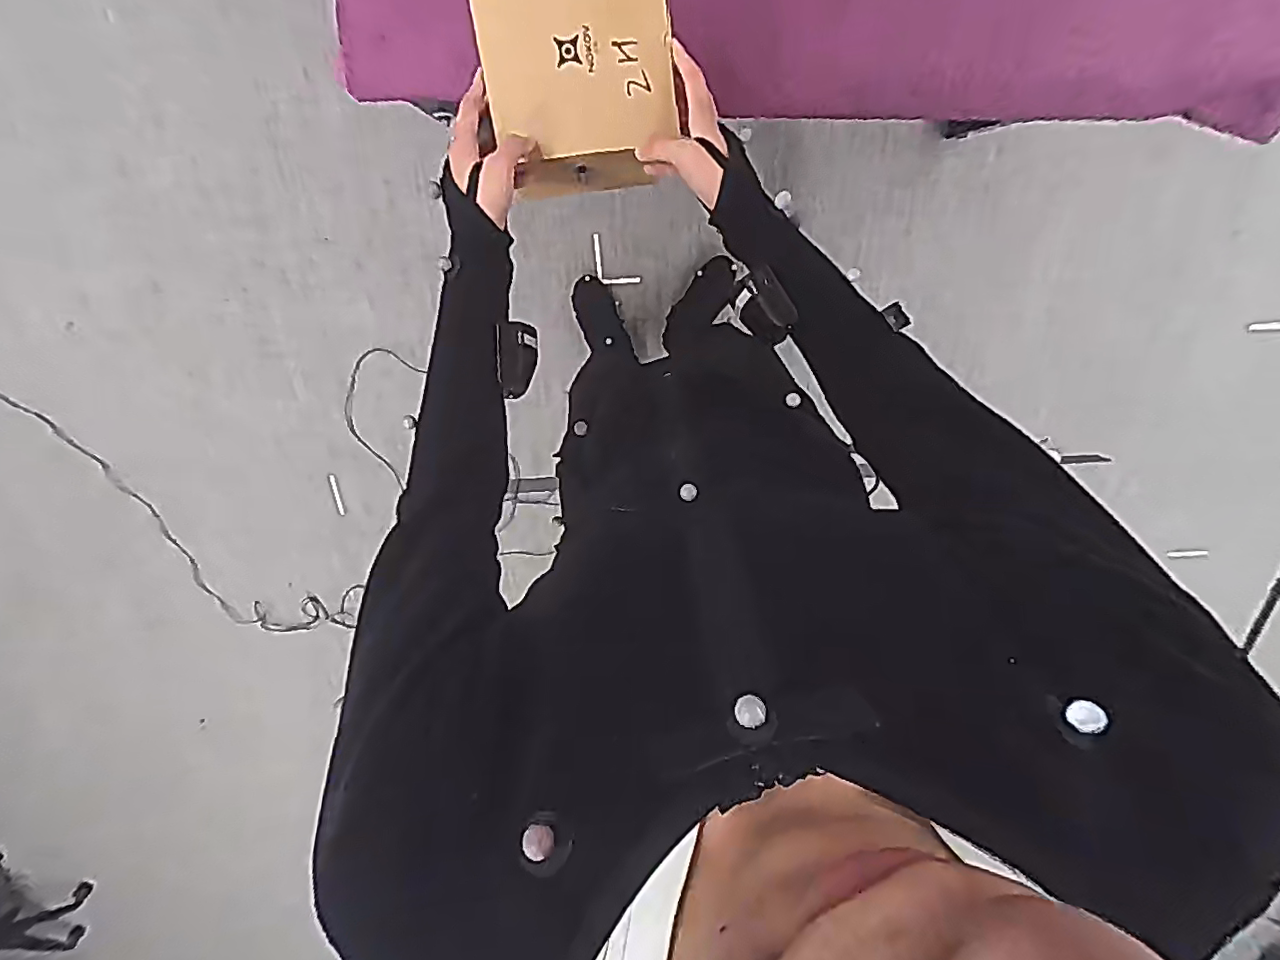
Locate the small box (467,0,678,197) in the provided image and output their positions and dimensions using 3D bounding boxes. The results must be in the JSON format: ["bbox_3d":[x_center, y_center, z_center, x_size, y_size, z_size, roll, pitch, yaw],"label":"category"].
[{"bbox_3d":[-0.065,-0.408,0.563,0.179,0.176,0.168,-9,108,-4],"label":"small box"}]

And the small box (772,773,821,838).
[{"bbox_3d":[0.675,1.400,2.329,0.168,0.176,0.179,-9,115,0],"label":"small box"}]
